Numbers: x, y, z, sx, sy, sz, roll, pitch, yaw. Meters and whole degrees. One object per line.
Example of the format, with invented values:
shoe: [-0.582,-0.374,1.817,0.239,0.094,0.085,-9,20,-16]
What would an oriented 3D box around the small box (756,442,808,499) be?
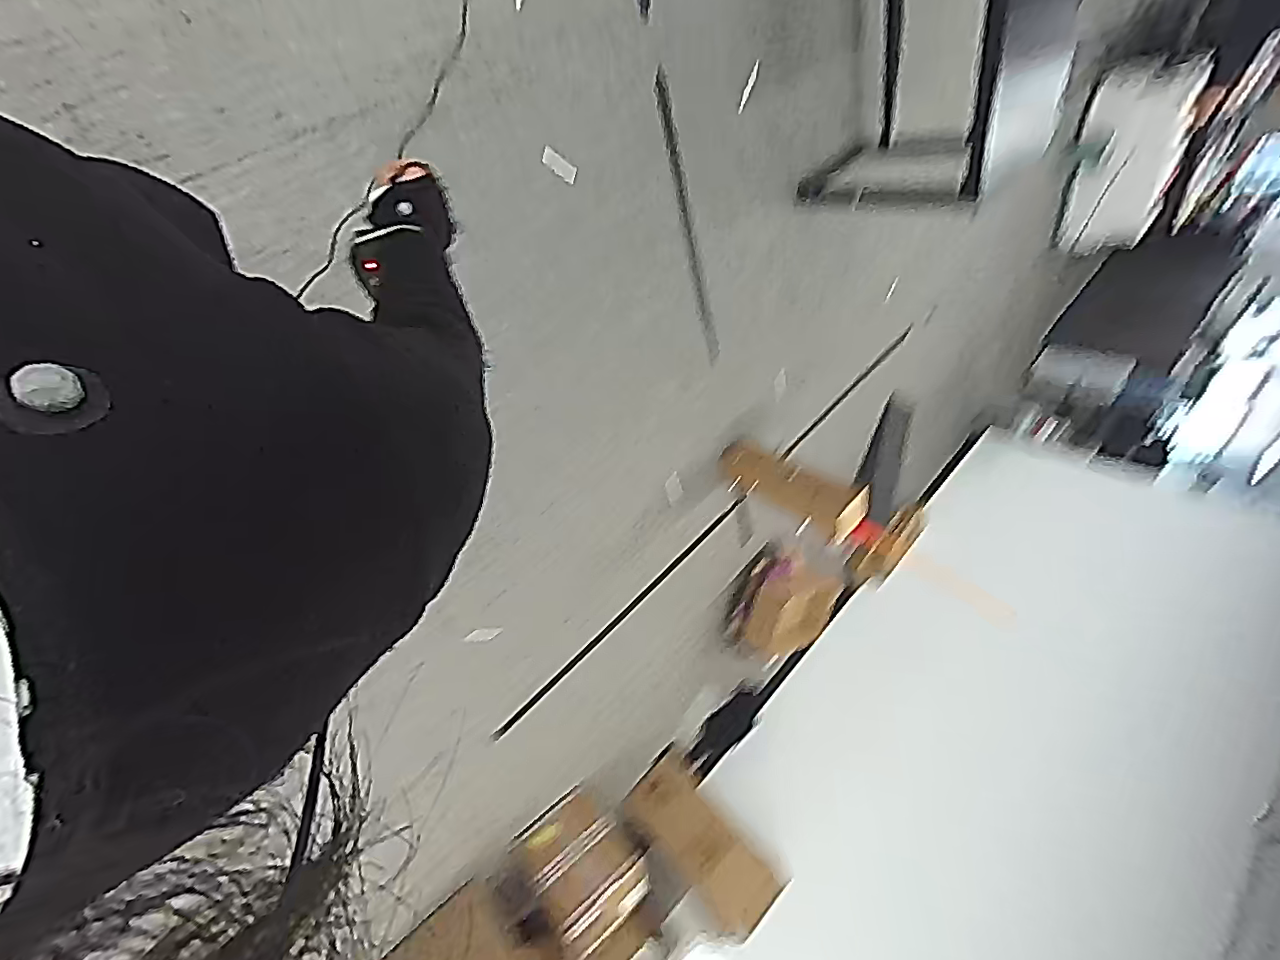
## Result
small box: [0.658,-0.048,2.488,0.168,0.176,0.179,-42,135,-20]

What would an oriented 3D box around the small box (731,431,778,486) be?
small box: [0.553,-0.106,2.600,0.179,0.176,0.168,-42,135,-22]

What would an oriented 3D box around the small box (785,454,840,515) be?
small box: [0.761,0.015,2.376,0.168,0.176,0.179,-42,134,-20]

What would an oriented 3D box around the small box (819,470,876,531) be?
small box: [0.865,0.078,2.265,0.168,0.176,0.179,-38,134,-22]
